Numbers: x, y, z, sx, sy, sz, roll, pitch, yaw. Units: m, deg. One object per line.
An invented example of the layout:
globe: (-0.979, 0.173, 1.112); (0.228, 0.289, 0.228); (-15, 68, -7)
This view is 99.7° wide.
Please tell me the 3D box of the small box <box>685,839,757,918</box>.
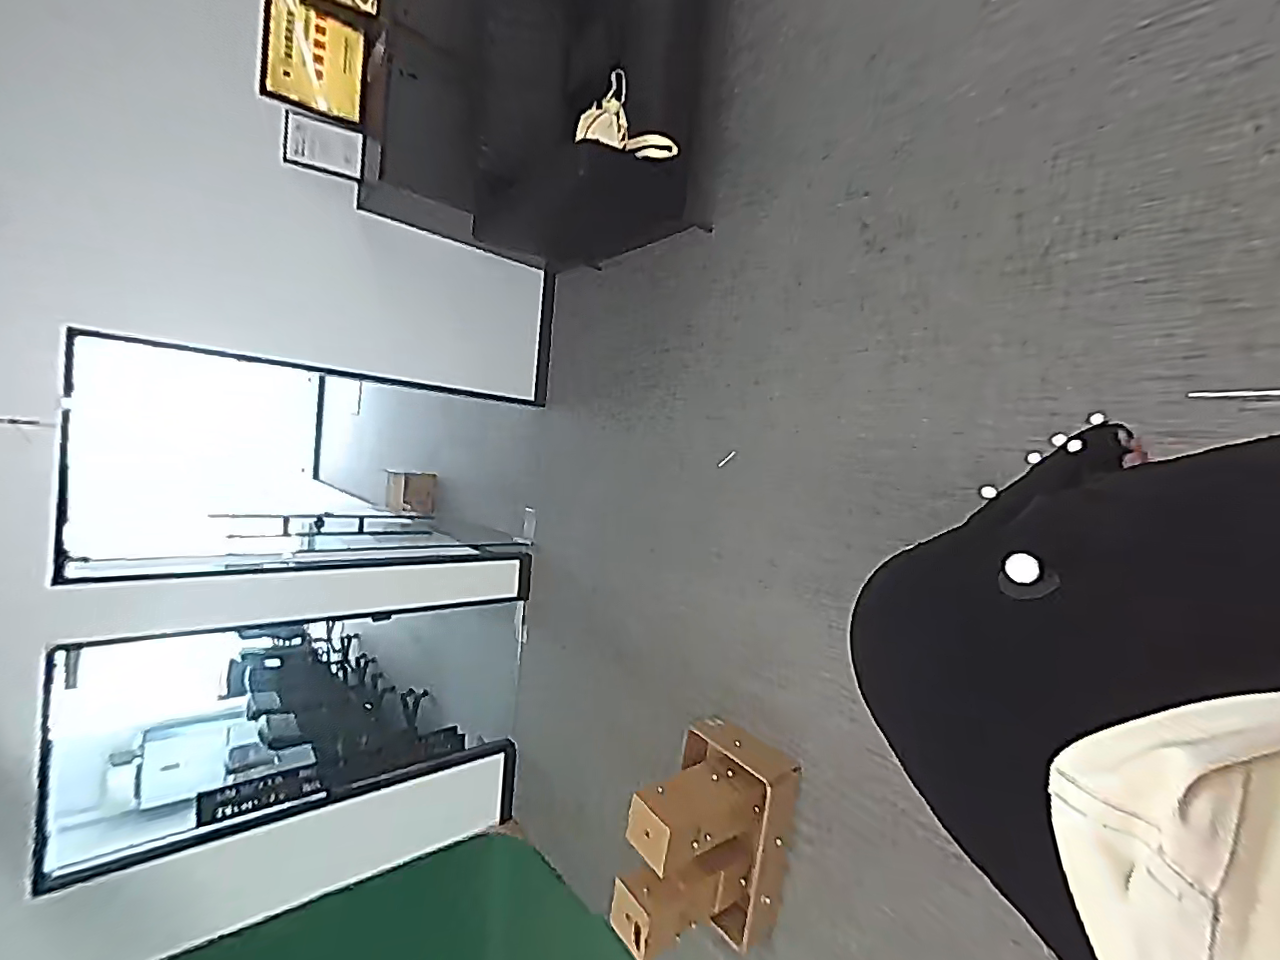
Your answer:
small box: (0.294, 1.410, 1.951); (0.179, 0.176, 0.168); (15, 98, 50)

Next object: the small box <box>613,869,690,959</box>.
small box: (0.039, 1.398, 1.744); (0.179, 0.176, 0.168); (15, 97, 52)

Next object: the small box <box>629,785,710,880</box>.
small box: (0.093, 1.099, 1.709); (0.179, 0.176, 0.168); (18, 101, 49)

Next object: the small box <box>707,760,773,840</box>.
small box: (0.341, 1.125, 1.920); (0.179, 0.176, 0.168); (15, 98, 49)

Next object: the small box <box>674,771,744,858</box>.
small box: (0.218, 1.108, 1.814); (0.179, 0.176, 0.168); (18, 101, 50)
